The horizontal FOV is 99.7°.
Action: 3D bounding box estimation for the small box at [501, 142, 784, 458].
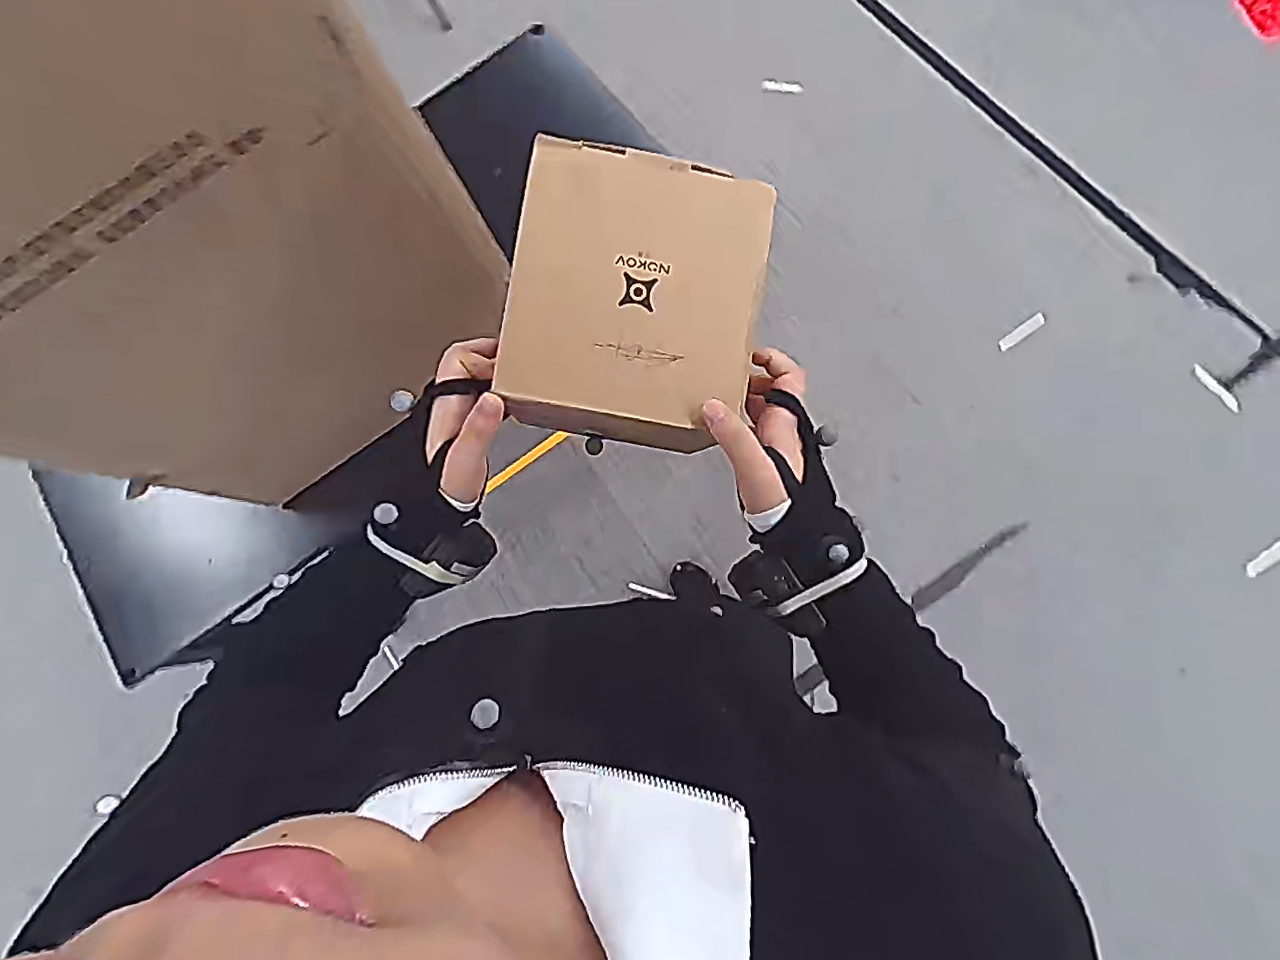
[{"bbox_3d":[-0.003,-0.120,0.437,0.168,0.176,0.179,11,88,-5],"label":"small box"}]
